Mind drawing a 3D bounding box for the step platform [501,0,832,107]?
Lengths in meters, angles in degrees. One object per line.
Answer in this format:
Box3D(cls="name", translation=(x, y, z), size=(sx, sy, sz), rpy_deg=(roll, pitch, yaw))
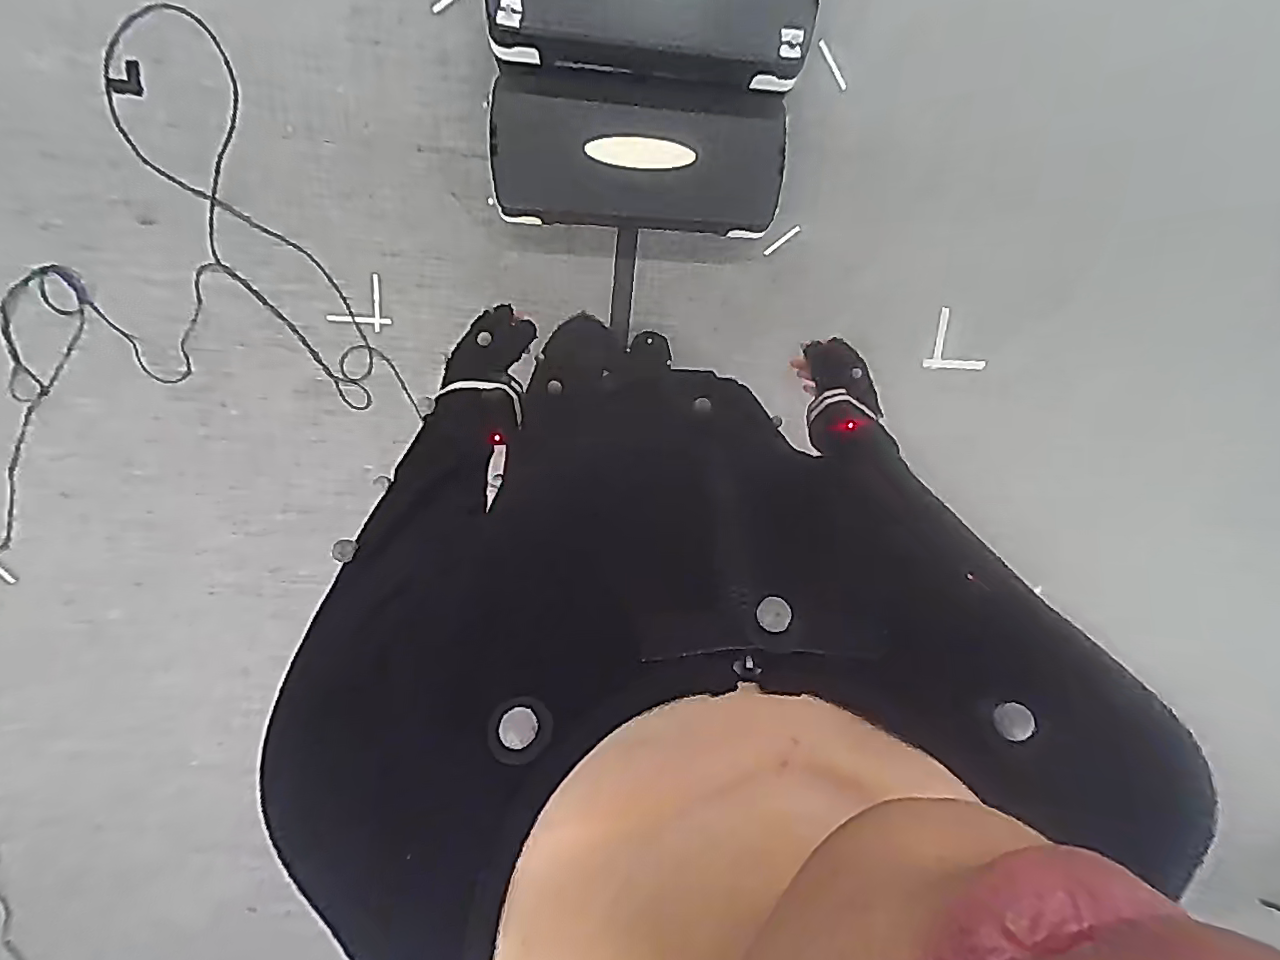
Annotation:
Box3D(cls="step platform", translation=(0.054, -1.011, 1.141), size=(0.684, 0.204, 0.286), rpy_deg=(2, 104, -5))
